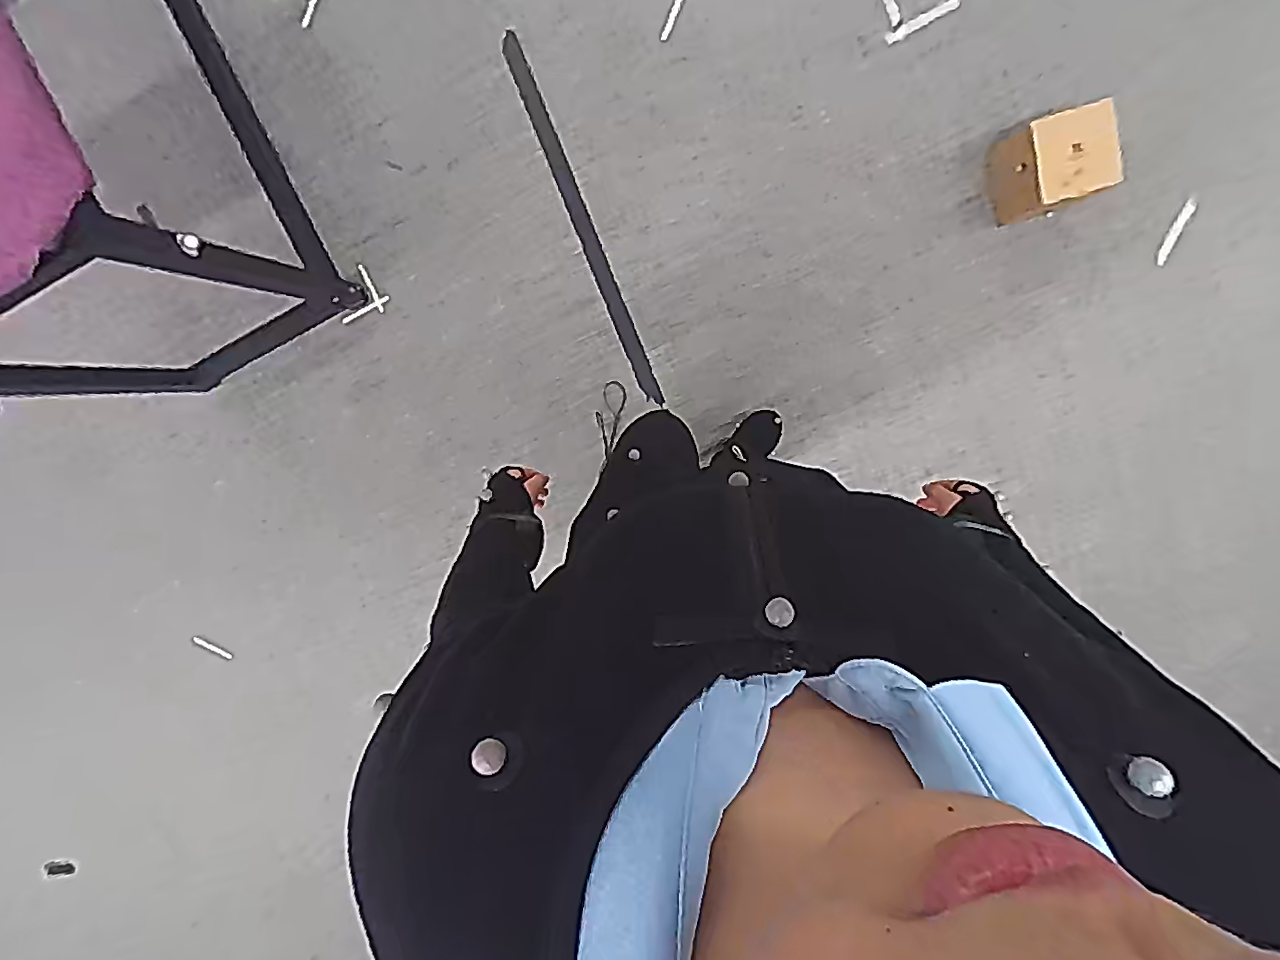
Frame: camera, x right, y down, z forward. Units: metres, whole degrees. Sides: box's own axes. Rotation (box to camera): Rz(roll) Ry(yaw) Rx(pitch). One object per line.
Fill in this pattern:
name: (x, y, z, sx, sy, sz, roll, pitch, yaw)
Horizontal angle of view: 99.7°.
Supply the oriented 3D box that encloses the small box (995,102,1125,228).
small box: (0.940, -0.702, 1.224, 0.168, 0.176, 0.179, -13, 99, 8)
